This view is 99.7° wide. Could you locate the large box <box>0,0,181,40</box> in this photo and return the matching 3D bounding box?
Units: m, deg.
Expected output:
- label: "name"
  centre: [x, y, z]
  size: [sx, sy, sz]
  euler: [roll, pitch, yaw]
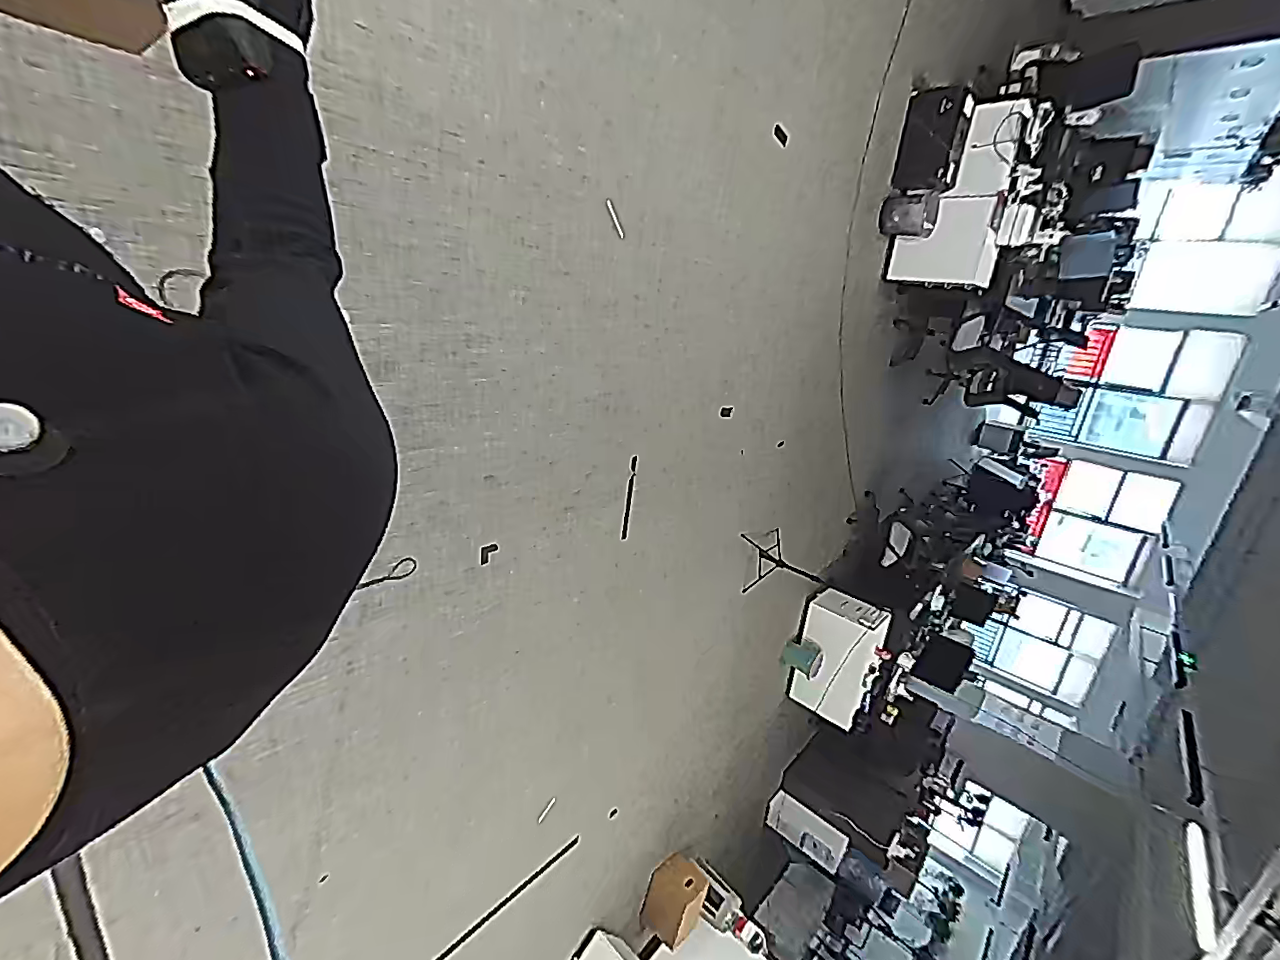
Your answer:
- label: "large box"
  centre: [-0.525, -0.510, 0.278]
  size: [0.408, 0.320, 0.320]
  euler: [-15, 121, -48]
